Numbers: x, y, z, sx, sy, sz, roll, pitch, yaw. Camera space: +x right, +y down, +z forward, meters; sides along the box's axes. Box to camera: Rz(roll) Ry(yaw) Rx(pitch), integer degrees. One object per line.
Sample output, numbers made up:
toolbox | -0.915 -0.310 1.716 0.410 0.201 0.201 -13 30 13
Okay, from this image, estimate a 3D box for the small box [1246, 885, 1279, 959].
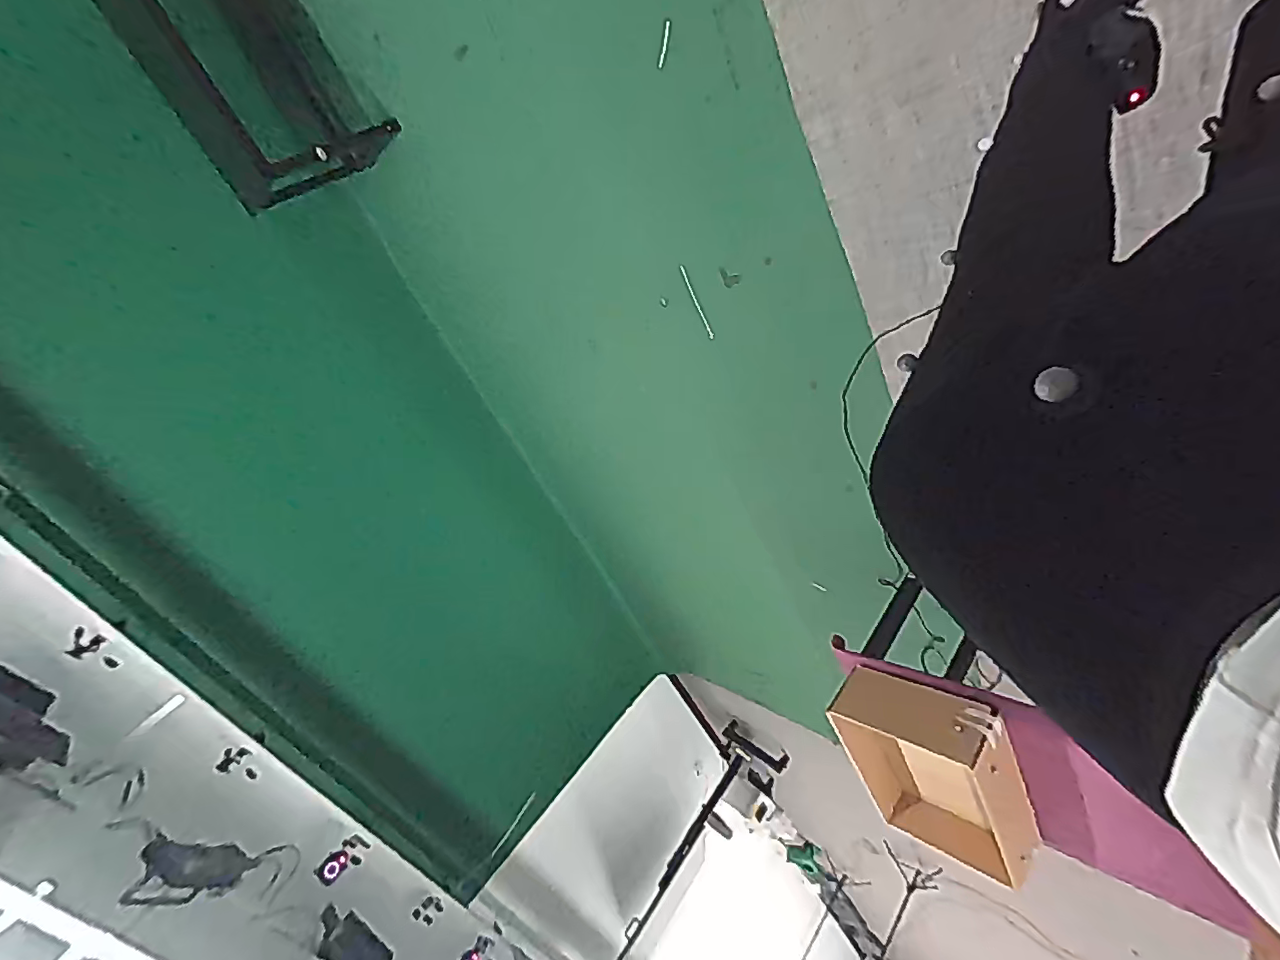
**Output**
small box | 1.363 0.933 1.051 0.179 0.176 0.168 36 151 19
